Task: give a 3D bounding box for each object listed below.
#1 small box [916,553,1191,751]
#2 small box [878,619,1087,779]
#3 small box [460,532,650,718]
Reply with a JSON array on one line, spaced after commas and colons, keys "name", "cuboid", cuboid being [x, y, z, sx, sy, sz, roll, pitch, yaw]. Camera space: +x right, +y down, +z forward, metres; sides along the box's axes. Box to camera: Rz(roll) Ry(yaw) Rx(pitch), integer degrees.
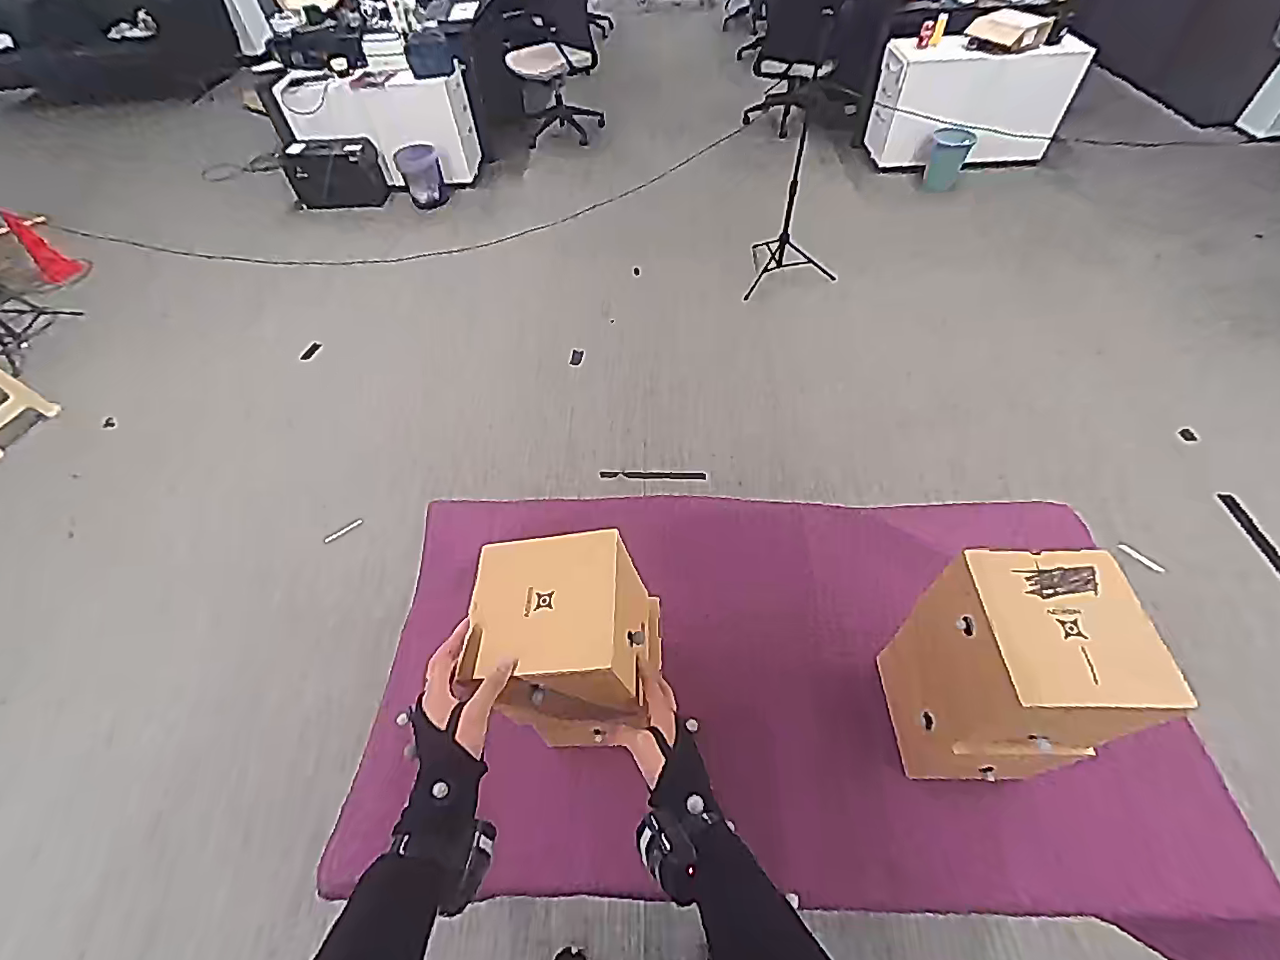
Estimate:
[{"name": "small box", "cuboid": [0.452, 0.203, 0.634, 0.168, 0.176, 0.179, 0, 53, 3]}, {"name": "small box", "cuboid": [0.457, 0.310, 0.758, 0.168, 0.176, 0.179, 0, 52, 2]}, {"name": "small box", "cuboid": [-0.086, 0.183, 0.662, 0.179, 0.176, 0.168, -9, 51, 11]}]
